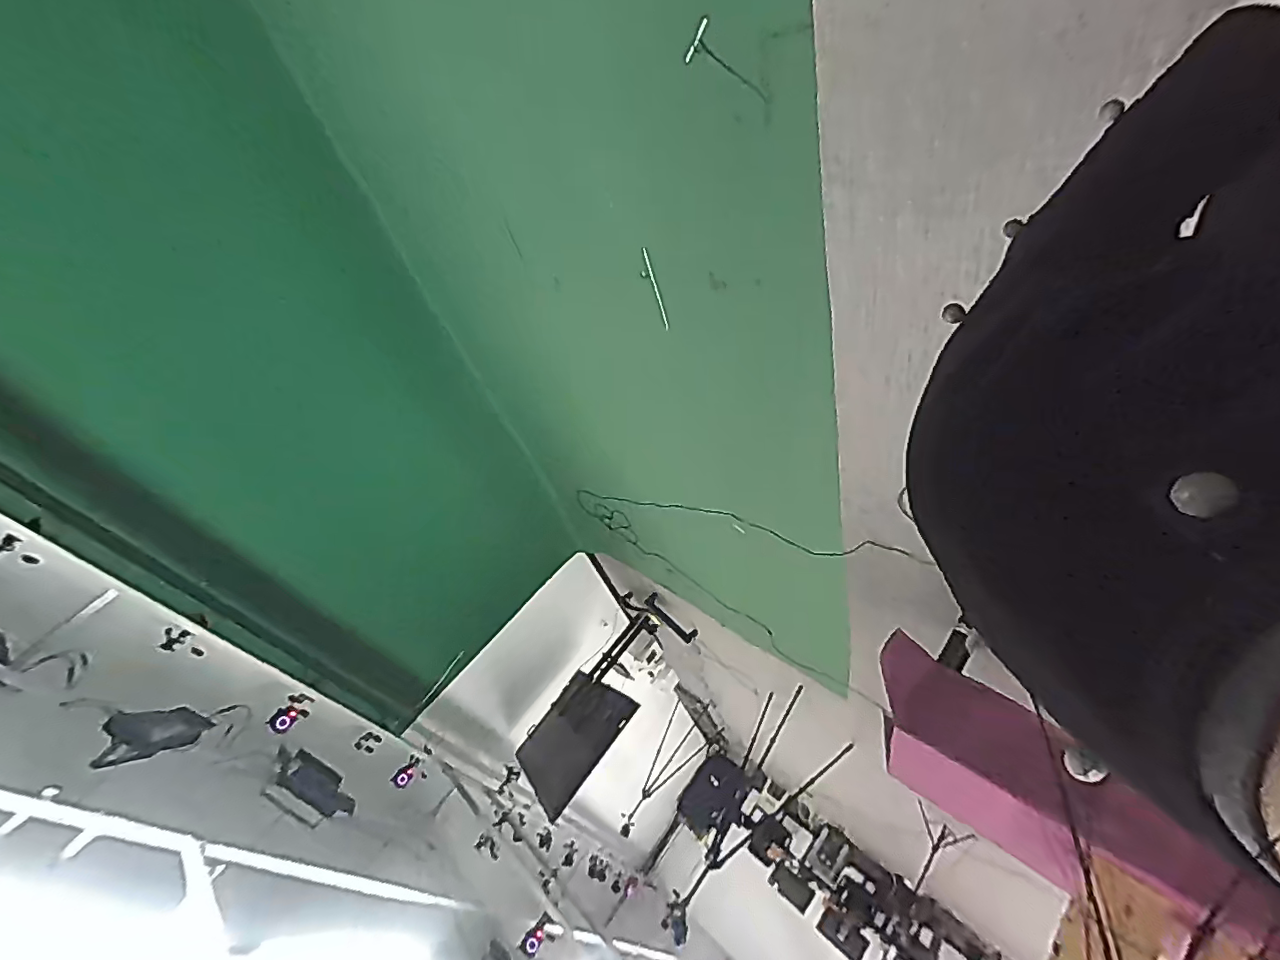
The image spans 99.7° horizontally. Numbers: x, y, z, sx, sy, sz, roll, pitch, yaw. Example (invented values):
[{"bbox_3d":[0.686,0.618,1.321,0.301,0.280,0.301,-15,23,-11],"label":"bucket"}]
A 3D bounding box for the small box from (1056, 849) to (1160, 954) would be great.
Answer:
[{"bbox_3d":[1.346,1.213,1.556,0.179,0.176,0.168,25,151,39],"label":"small box"}]

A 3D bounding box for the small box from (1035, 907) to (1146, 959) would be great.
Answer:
[{"bbox_3d":[1.239,1.321,1.493,0.179,0.176,0.168,25,152,37],"label":"small box"}]
